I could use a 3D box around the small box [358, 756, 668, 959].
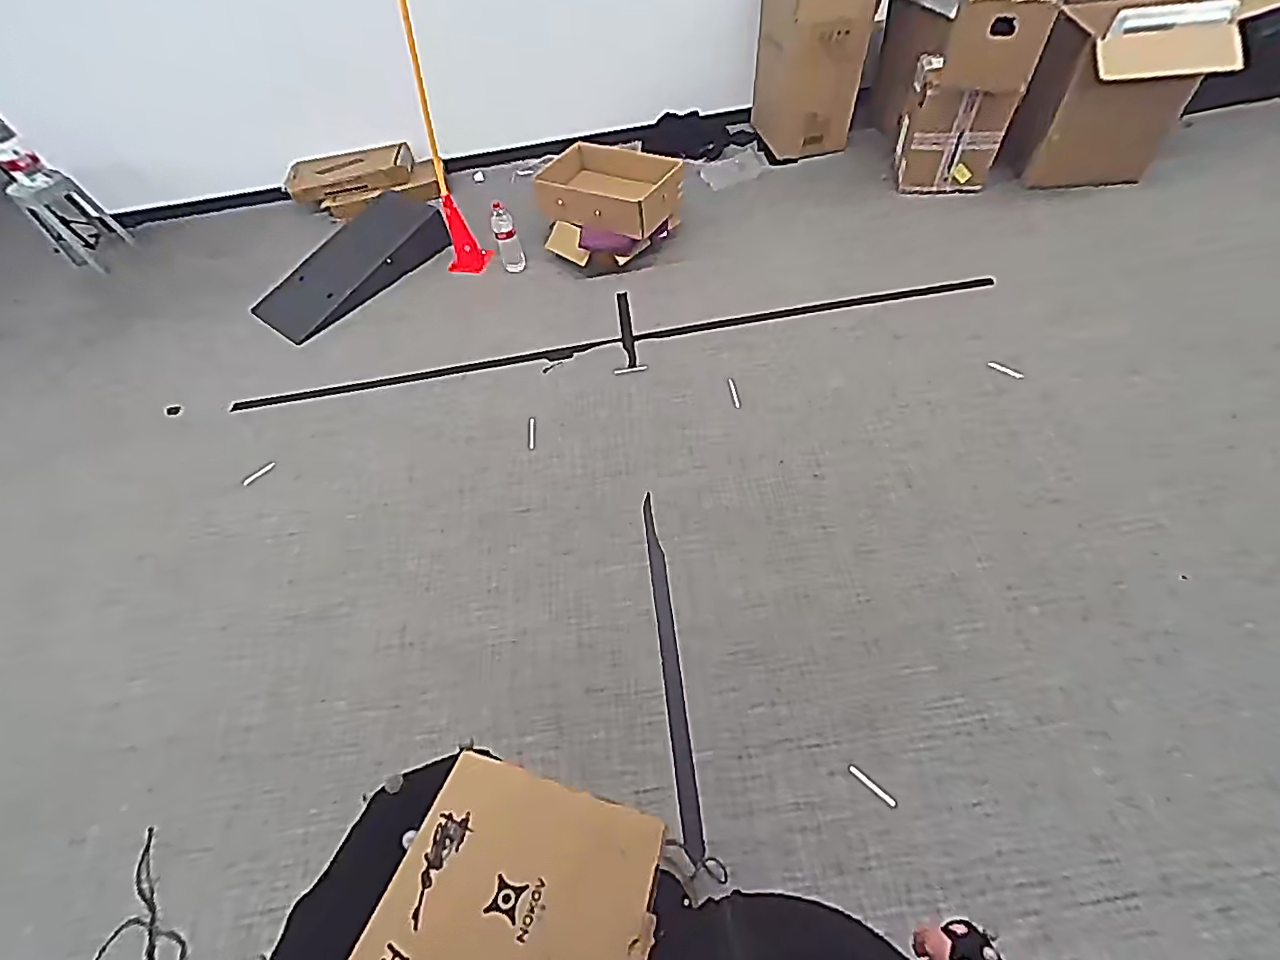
[{"bbox_3d":[-0.092,0.357,0.419,0.179,0.176,0.168,15,37,7],"label":"small box"}]
